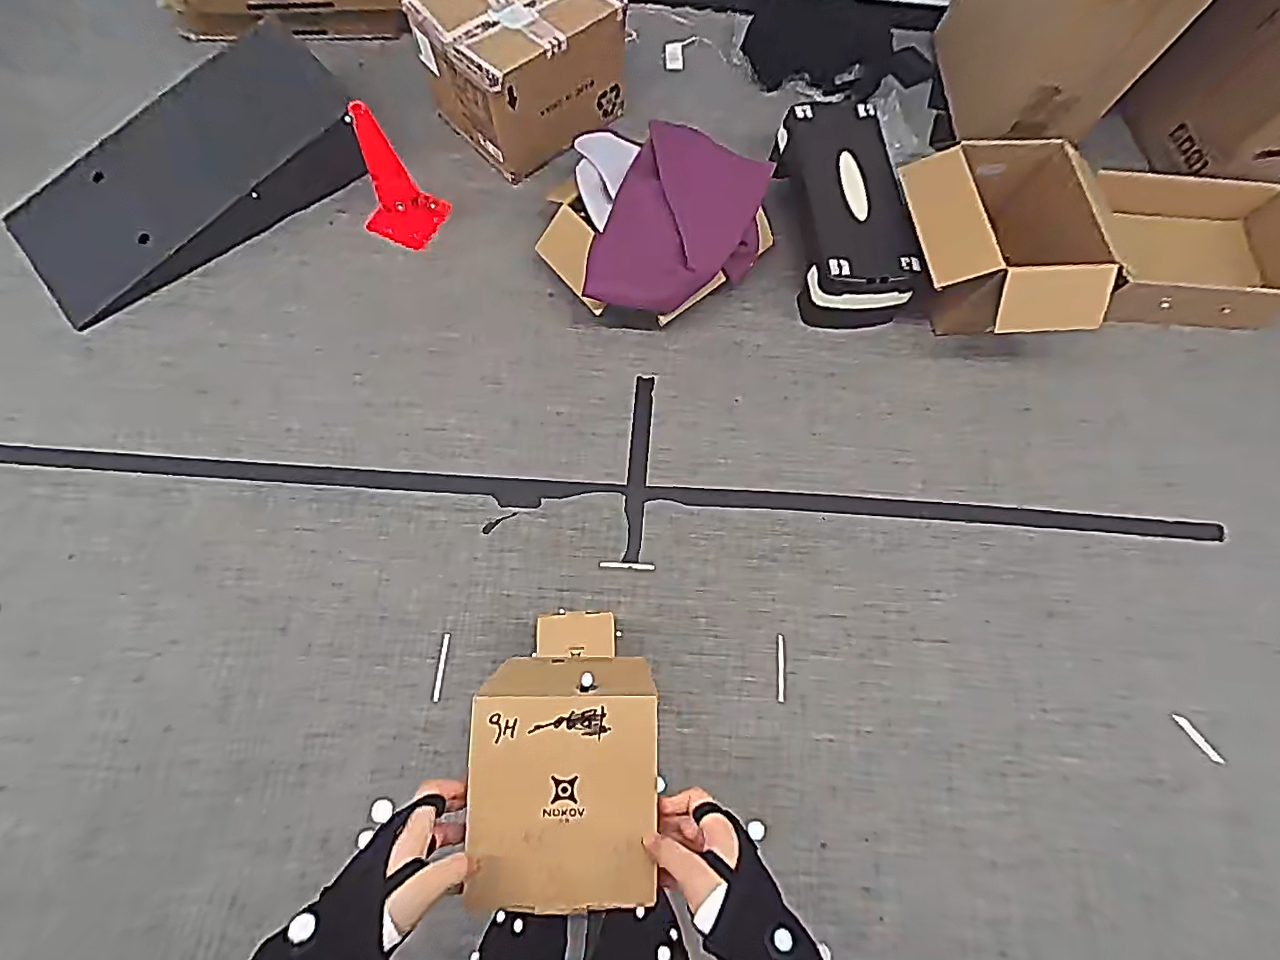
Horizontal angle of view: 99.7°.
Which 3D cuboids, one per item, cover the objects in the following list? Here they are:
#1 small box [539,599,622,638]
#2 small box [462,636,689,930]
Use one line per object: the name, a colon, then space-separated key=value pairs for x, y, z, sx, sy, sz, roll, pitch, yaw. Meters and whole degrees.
small box: x=-0.120 y=0.348 z=1.126 sx=0.168 sy=0.176 sz=0.179 roll=-2 pitch=74 yaw=-3
small box: x=-0.048 y=0.243 z=0.475 sx=0.168 sy=0.176 sz=0.179 roll=0 pitch=84 yaw=-3
